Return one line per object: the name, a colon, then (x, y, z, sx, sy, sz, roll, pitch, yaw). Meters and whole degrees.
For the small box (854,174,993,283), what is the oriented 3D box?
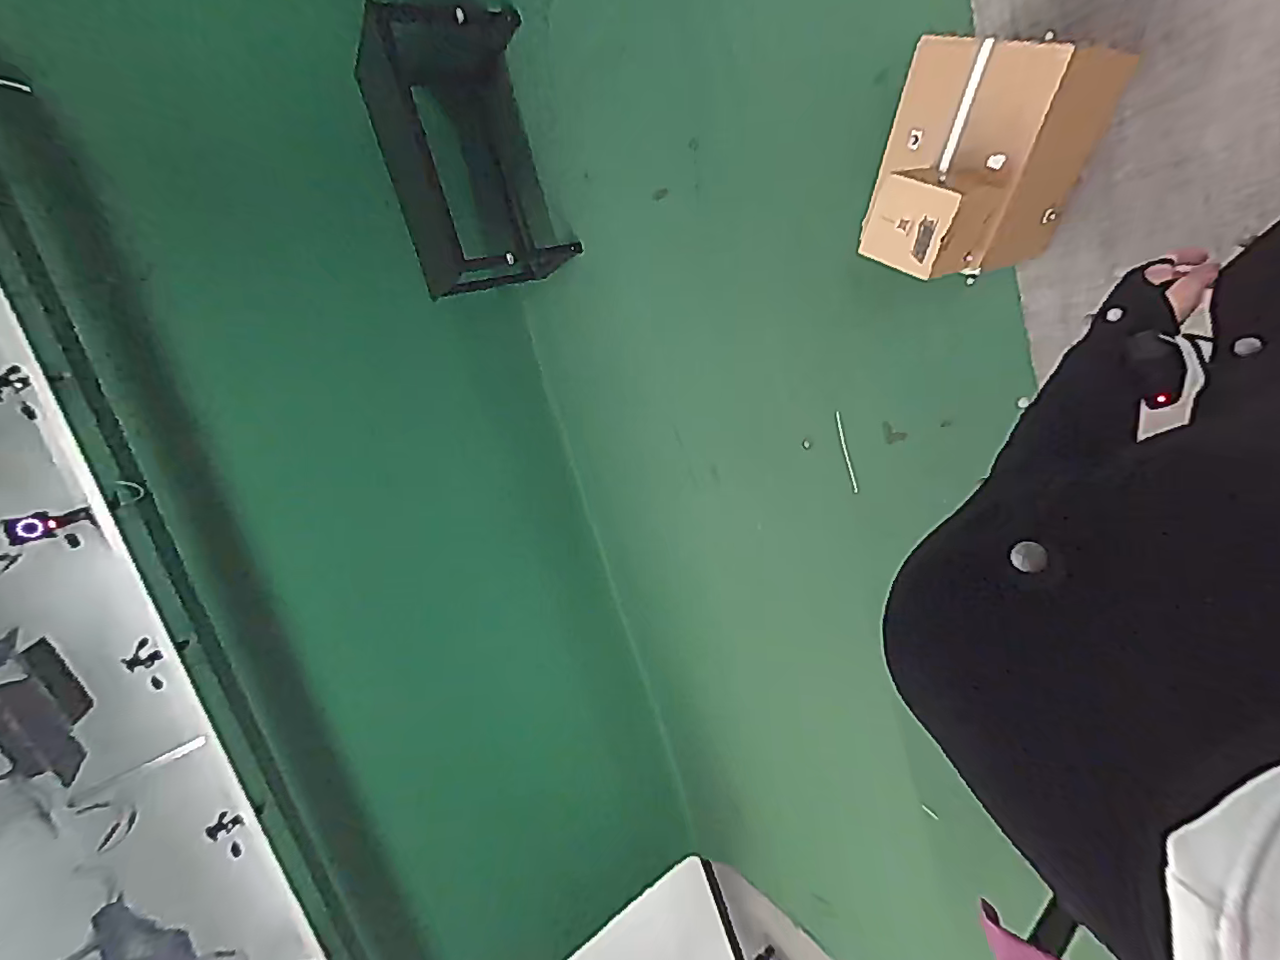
small box: (0.604, -0.544, 1.154, 0.179, 0.176, 0.168, 44, 142, 34)
